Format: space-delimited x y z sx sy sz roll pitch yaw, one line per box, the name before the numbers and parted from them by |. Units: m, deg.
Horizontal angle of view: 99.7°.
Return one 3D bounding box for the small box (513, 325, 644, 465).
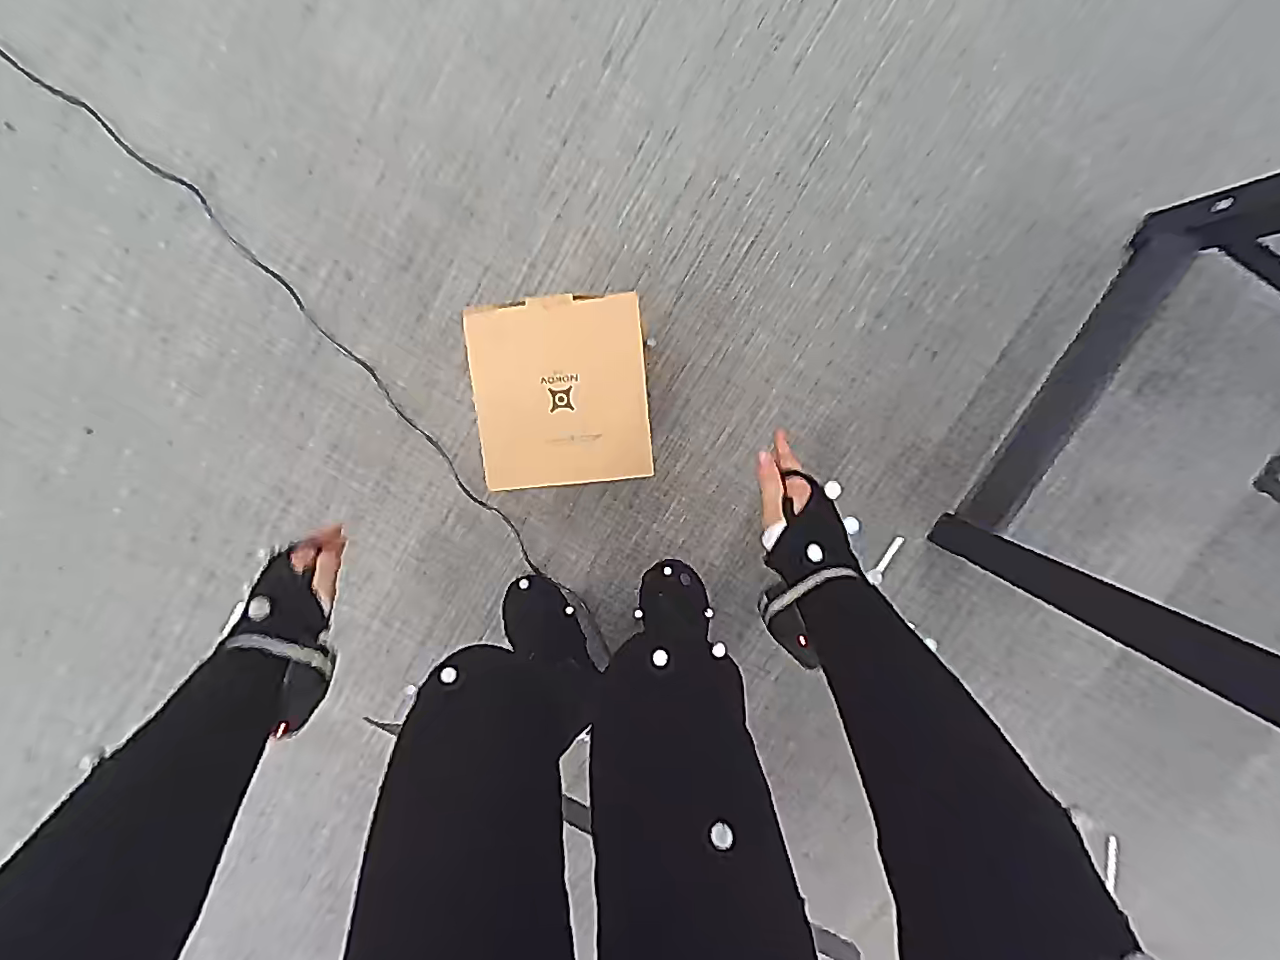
small box | -0.077 -0.121 0.765 0.168 0.176 0.179 -2 100 -1
